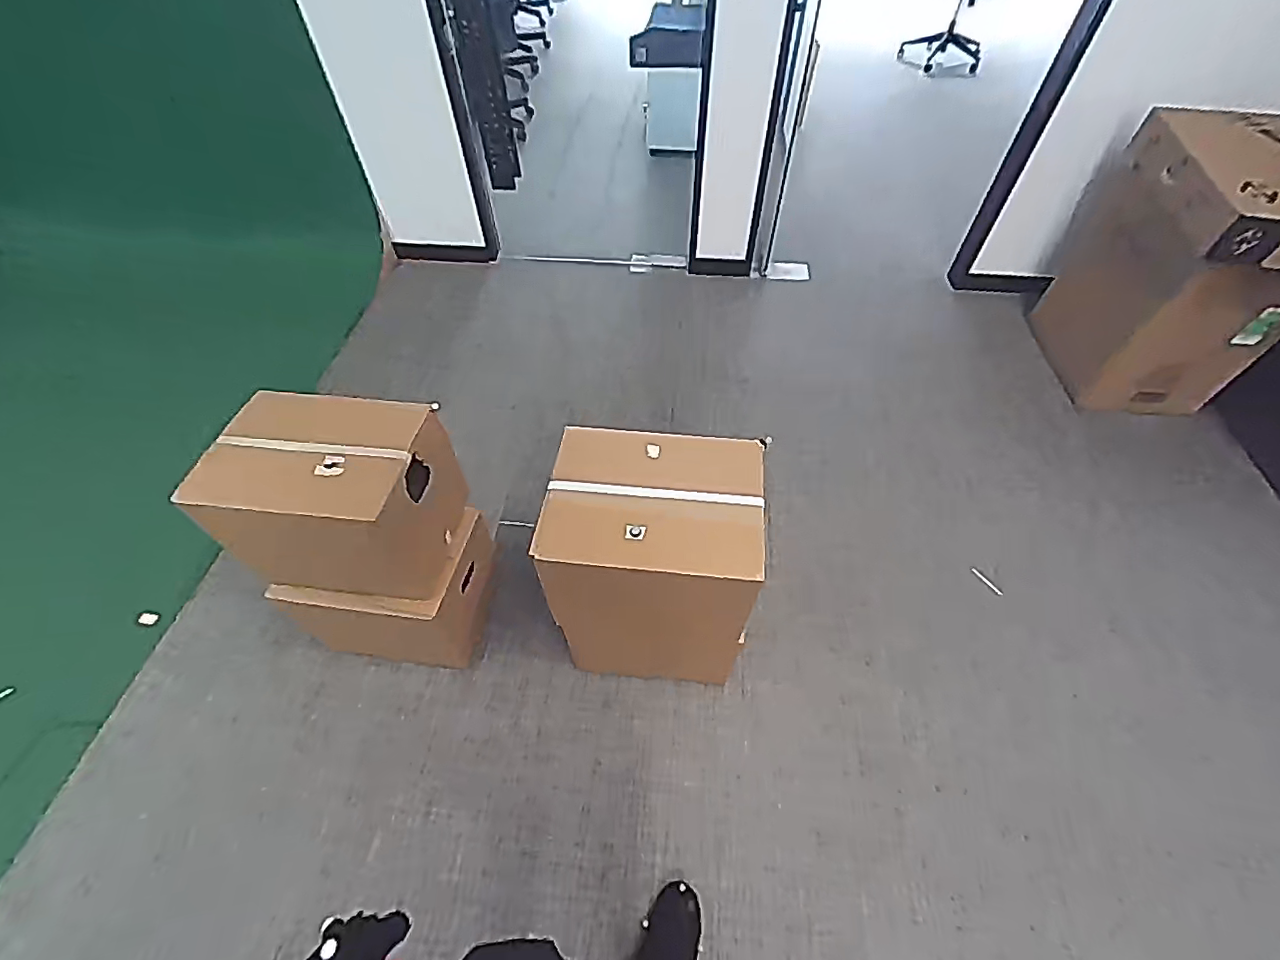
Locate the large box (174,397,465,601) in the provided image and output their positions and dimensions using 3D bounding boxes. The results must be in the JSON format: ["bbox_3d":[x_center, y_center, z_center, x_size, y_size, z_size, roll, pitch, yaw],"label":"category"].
[{"bbox_3d":[-0.659,0.044,1.201,0.408,0.320,0.320,6,49,4],"label":"large box"}]
